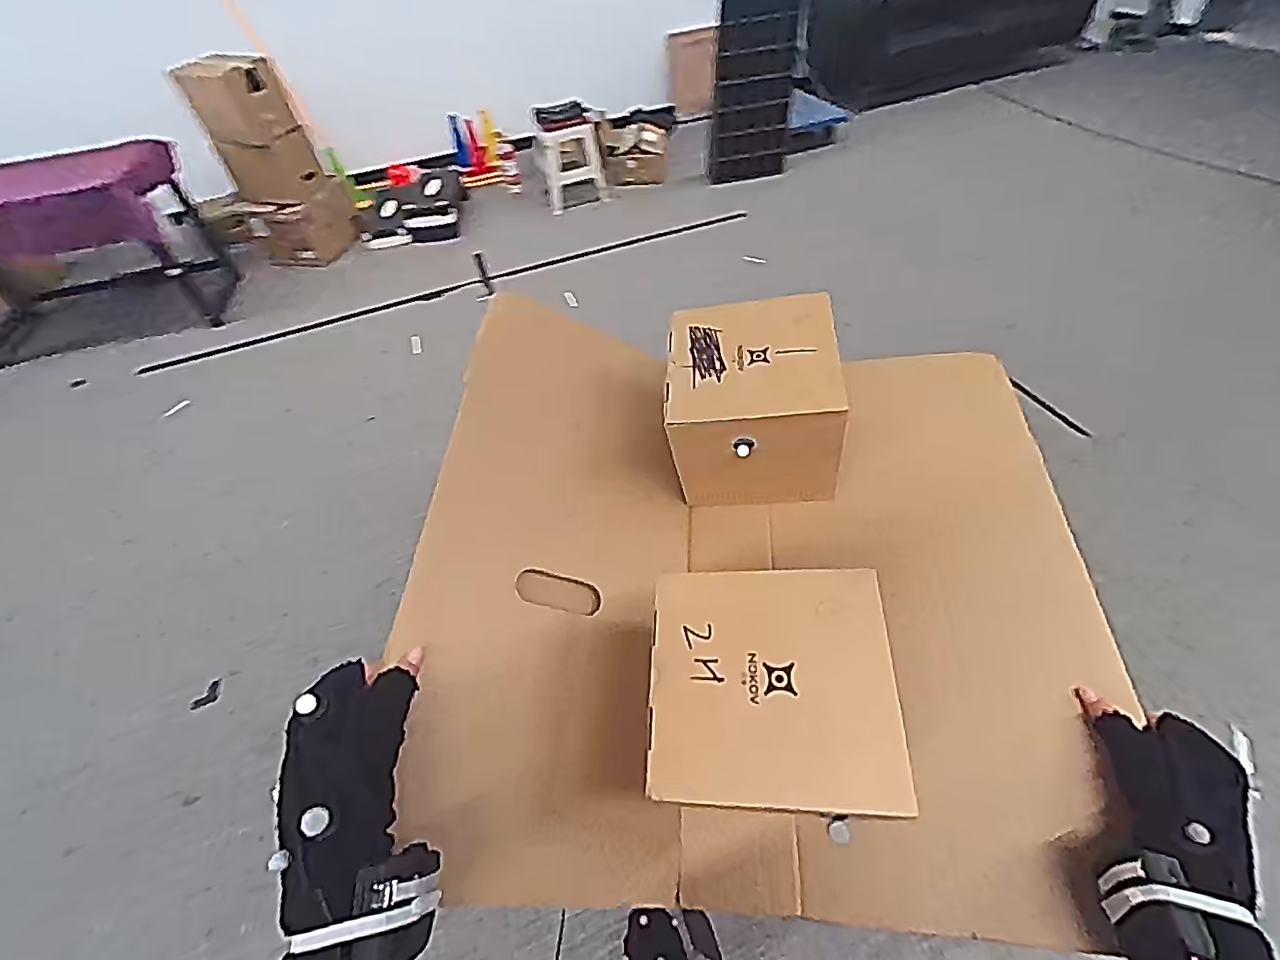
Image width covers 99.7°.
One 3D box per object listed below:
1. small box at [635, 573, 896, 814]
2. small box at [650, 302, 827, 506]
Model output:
[{"bbox_3d":[0.102,0.189,0.471,0.179,0.176,0.168,-4,57,13],"label":"small box"},{"bbox_3d":[0.116,-0.080,0.638,0.179,0.176,0.168,-4,58,12],"label":"small box"}]
